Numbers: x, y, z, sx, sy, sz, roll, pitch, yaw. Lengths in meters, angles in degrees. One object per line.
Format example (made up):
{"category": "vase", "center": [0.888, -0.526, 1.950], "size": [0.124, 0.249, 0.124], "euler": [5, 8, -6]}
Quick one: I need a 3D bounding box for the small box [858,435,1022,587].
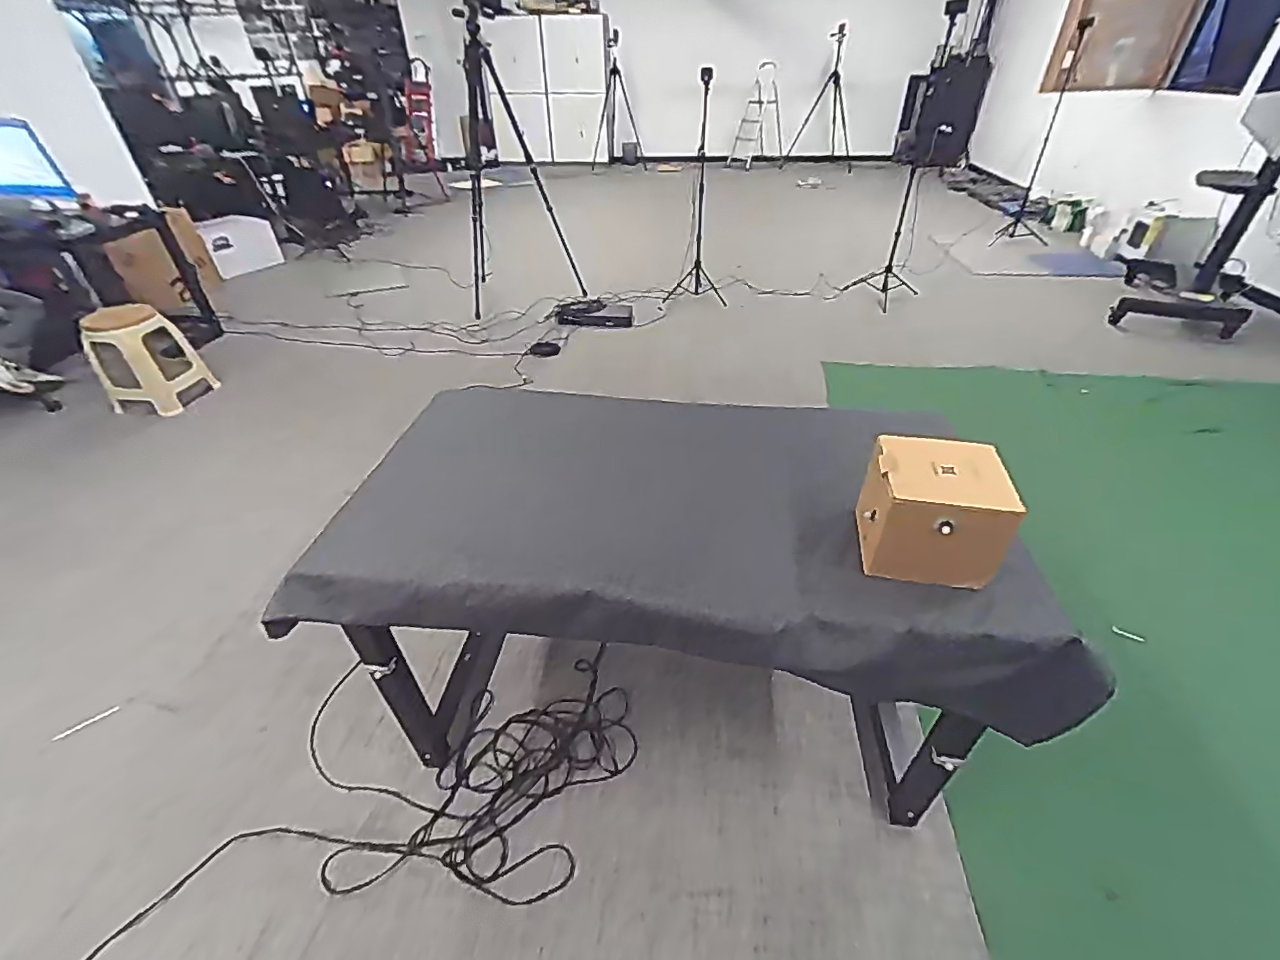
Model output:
{"category": "small box", "center": [0.455, 0.049, 0.859], "size": [0.179, 0.176, 0.168], "euler": [7, 40, 10]}
